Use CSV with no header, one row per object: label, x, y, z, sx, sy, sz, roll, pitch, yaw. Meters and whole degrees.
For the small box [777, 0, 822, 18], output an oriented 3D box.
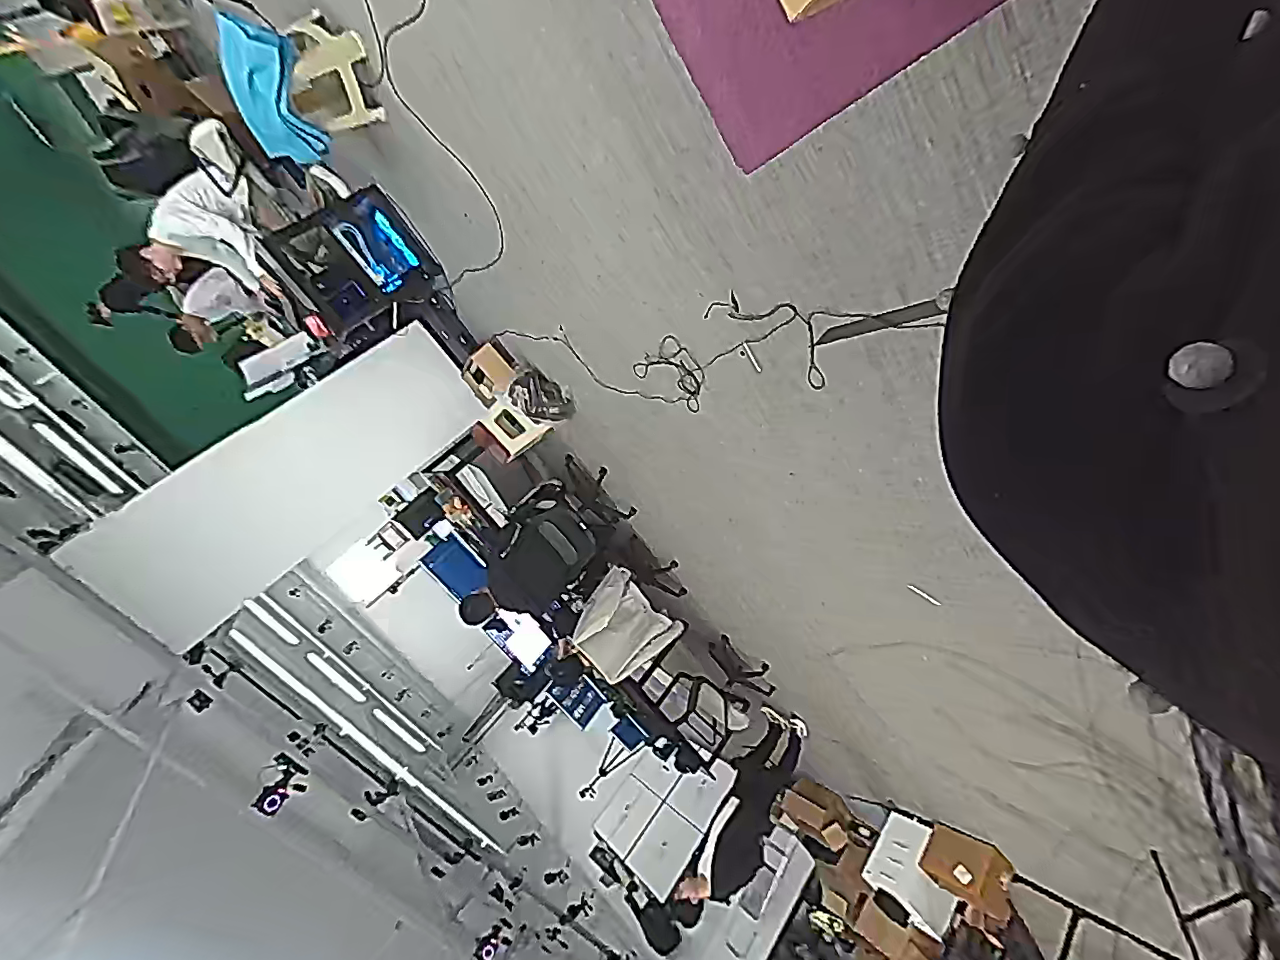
small box,0.188,-0.549,0.443,0.168,0.176,0.179,54,153,-18
